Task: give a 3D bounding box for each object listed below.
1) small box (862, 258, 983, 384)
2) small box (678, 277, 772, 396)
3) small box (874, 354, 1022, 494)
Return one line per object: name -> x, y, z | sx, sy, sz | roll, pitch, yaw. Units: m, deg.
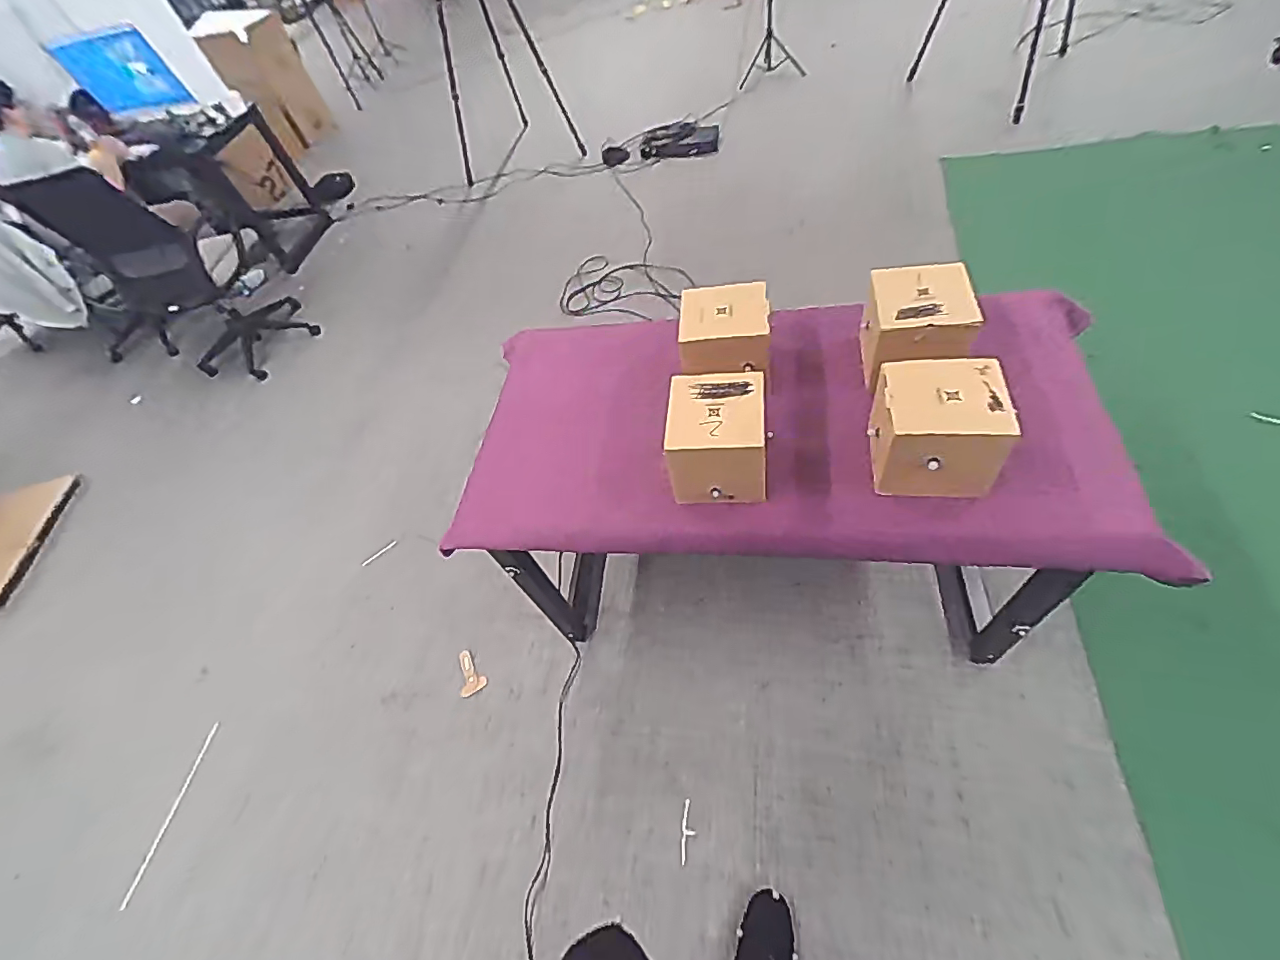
small box -> 0.530, -0.295, 1.039 | 0.168, 0.176, 0.179 | 0, 55, 14
small box -> 0.181, -0.292, 1.123 | 0.179, 0.176, 0.168 | -2, 55, 13
small box -> 0.494, -0.089, 0.901 | 0.179, 0.176, 0.168 | 1, 55, 15
